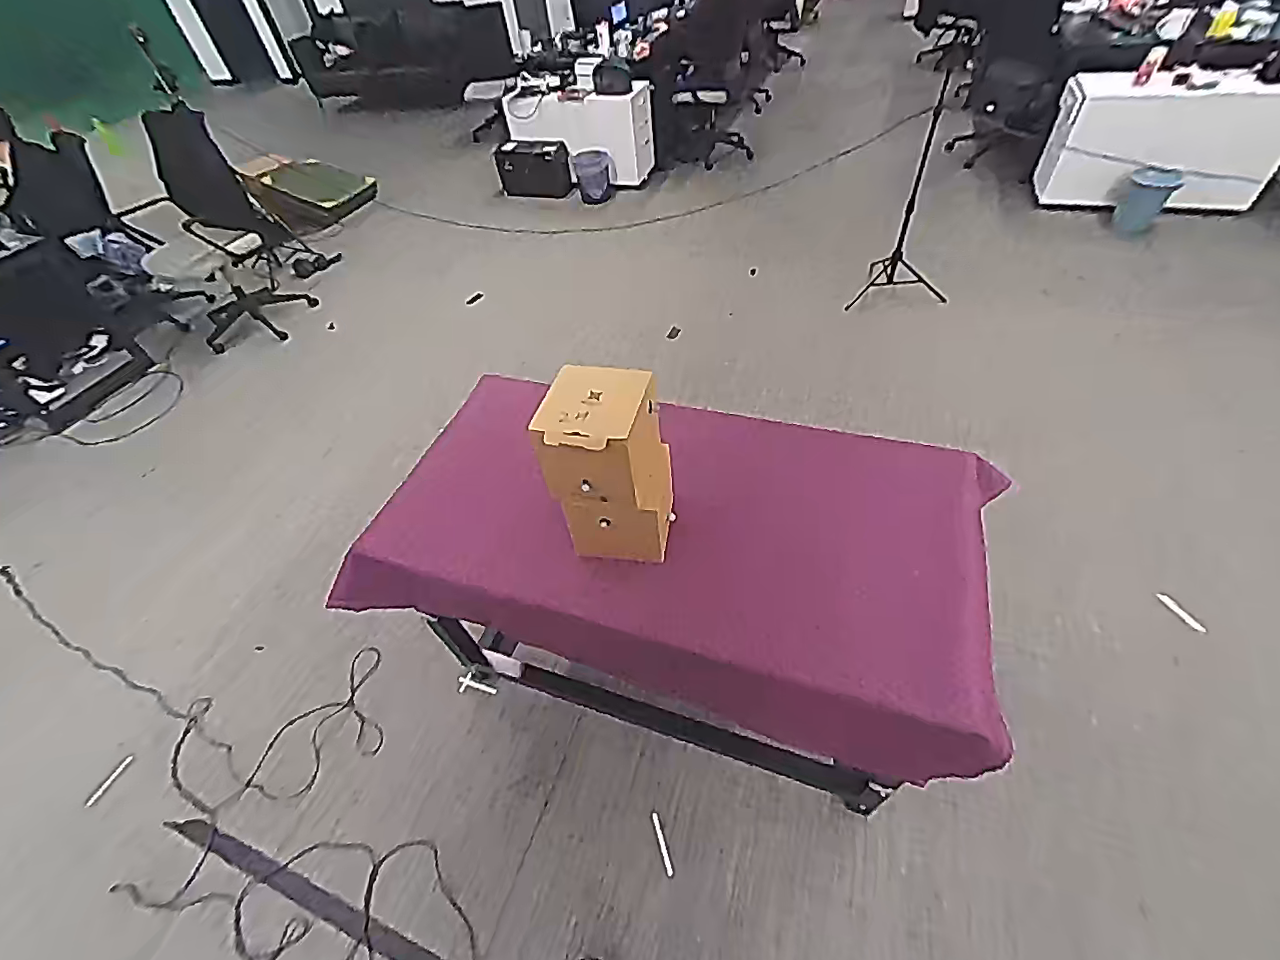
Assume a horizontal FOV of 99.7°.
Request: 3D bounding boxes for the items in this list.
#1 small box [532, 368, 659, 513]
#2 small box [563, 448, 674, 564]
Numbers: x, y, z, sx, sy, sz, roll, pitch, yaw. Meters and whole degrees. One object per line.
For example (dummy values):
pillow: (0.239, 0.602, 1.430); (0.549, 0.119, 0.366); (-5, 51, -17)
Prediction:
small box: (-0.066, -0.070, 0.944); (0.168, 0.176, 0.179); (7, 50, 14)
small box: (-0.033, 0.049, 1.056); (0.179, 0.176, 0.168); (4, 49, 10)
